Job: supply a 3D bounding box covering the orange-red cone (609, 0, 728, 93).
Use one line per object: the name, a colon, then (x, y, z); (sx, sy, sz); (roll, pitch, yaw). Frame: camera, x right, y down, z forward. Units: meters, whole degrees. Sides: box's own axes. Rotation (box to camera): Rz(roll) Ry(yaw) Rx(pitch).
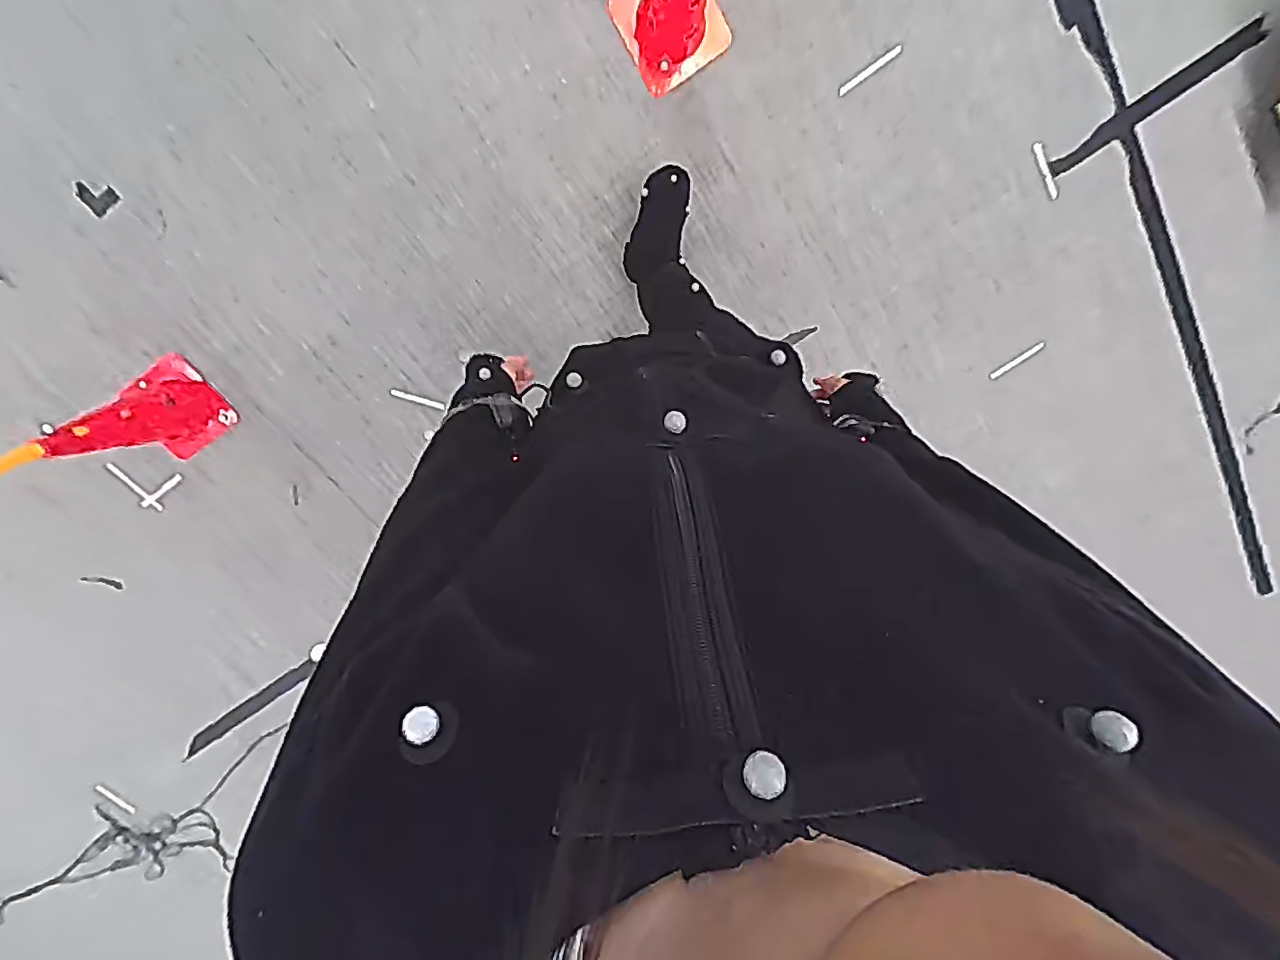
orange-red cone: (0.074, -0.879, 0.944); (0.199, 0.360, 0.198); (-31, 109, 6)
